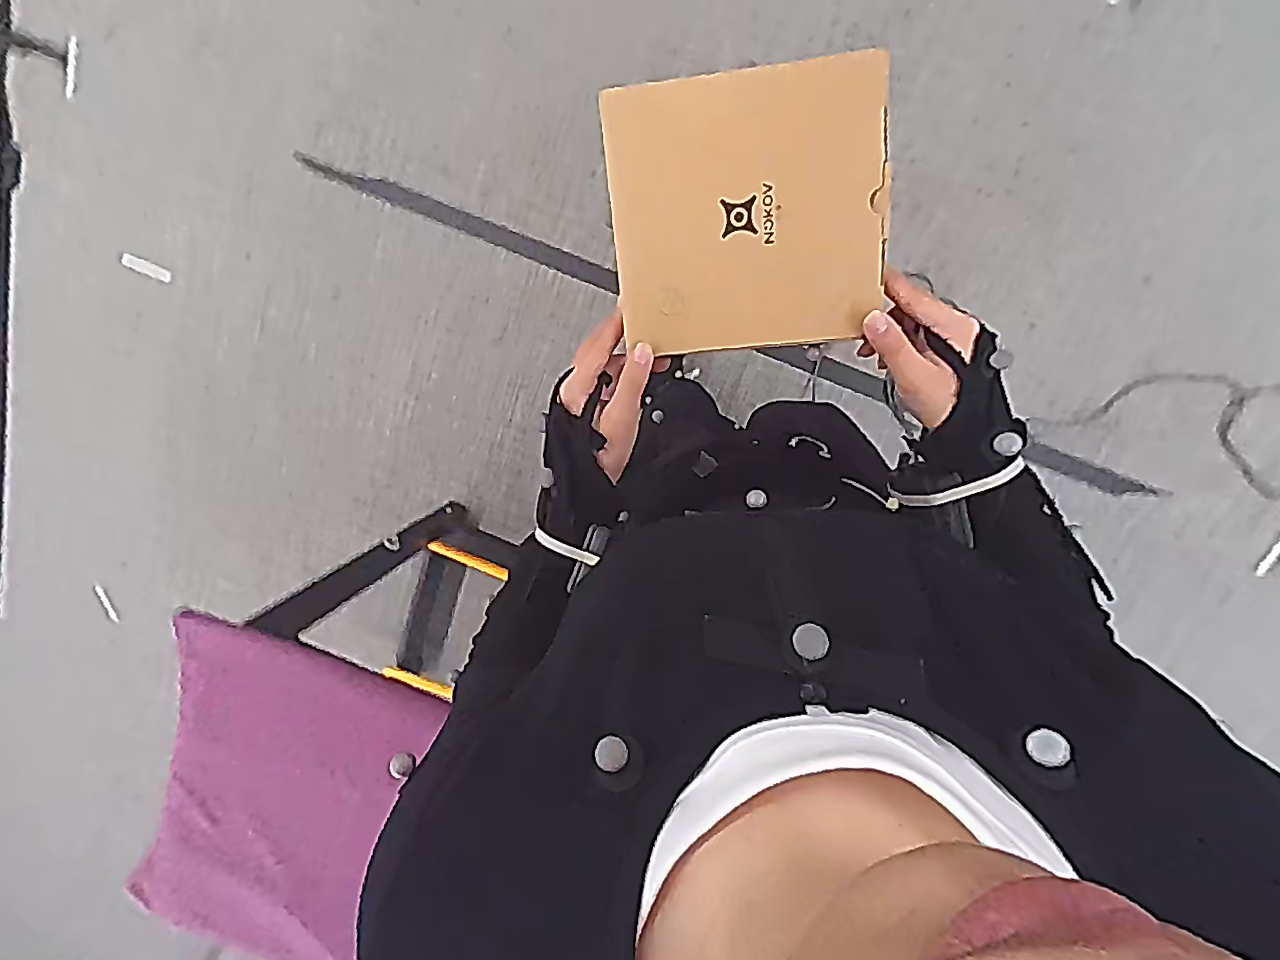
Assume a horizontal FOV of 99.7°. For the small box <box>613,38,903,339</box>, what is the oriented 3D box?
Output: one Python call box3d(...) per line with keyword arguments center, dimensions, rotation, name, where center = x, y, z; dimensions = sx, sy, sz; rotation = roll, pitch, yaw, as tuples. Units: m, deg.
box3d(center=(0.081, -0.199, 0.423), dimensions=(0.179, 0.176, 0.168), rotation=(-3, 106, 5), name="small box")
